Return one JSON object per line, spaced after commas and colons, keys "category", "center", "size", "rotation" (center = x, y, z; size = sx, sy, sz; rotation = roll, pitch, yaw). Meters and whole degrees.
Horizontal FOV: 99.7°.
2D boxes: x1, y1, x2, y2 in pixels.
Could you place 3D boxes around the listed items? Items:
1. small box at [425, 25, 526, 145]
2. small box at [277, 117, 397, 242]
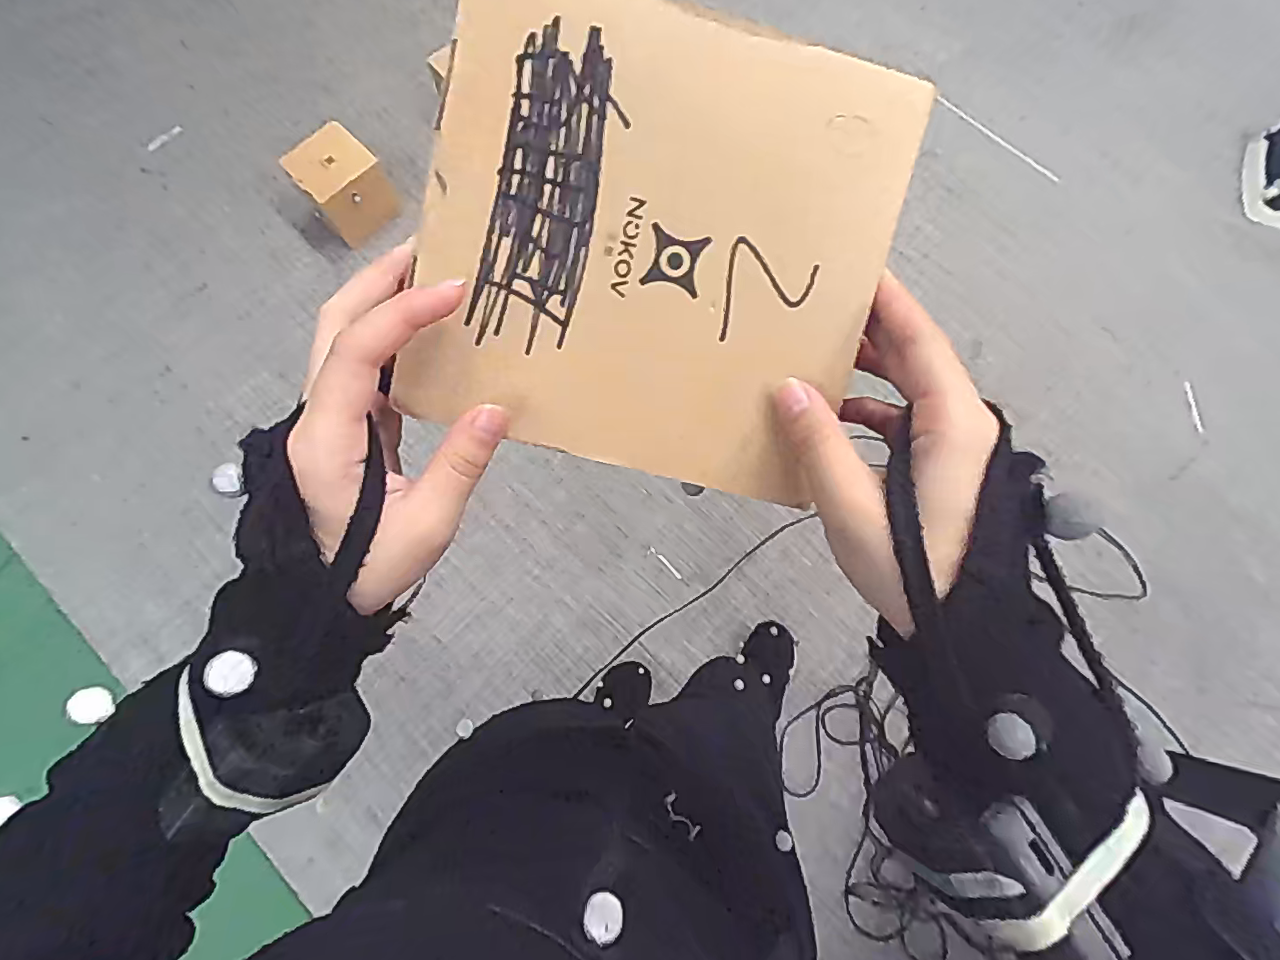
{"category": "small box", "center": [-0.423, -1.025, 1.423], "size": [0.168, 0.176, 0.179], "rotation": [-41, 81, -11]}
{"category": "small box", "center": [-0.740, -0.742, 1.349], "size": [0.168, 0.176, 0.179], "rotation": [44, 80, 7]}
